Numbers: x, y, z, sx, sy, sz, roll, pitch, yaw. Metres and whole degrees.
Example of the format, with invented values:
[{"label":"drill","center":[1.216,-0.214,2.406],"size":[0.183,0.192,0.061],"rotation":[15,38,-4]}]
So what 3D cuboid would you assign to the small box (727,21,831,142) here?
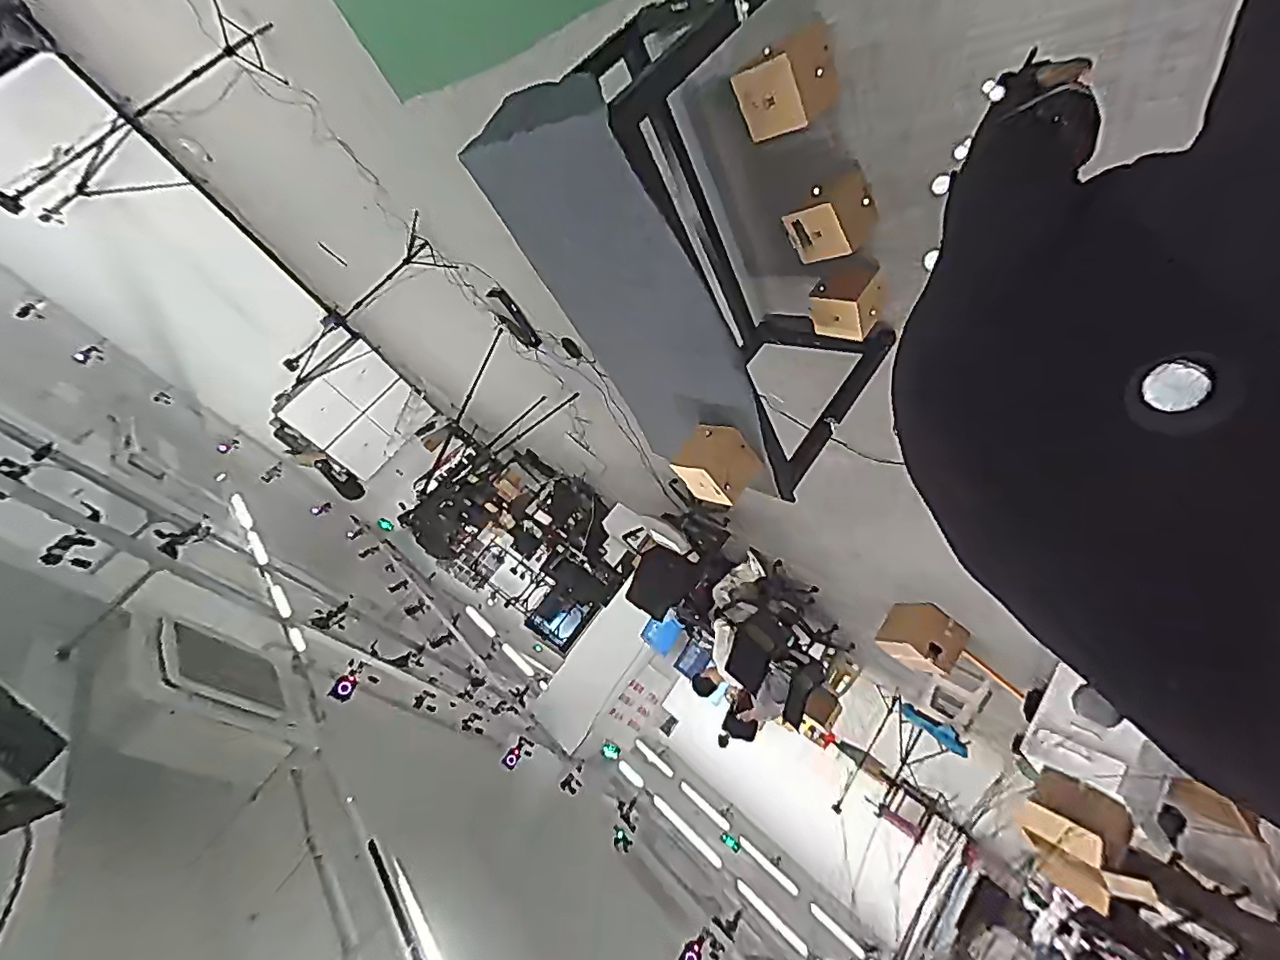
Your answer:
[{"label":"small box","center":[0.358,-1.000,1.362],"size":[0.179,0.176,0.168],"rotation":[20,156,48]}]

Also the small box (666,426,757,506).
[{"label":"small box","center":[0.220,-0.050,1.639],"size":[0.168,0.176,0.179],"rotation":[48,162,-30]}]

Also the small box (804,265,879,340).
[{"label":"small box","center":[0.679,-0.596,1.805],"size":[0.179,0.176,0.168],"rotation":[25,160,40]}]
